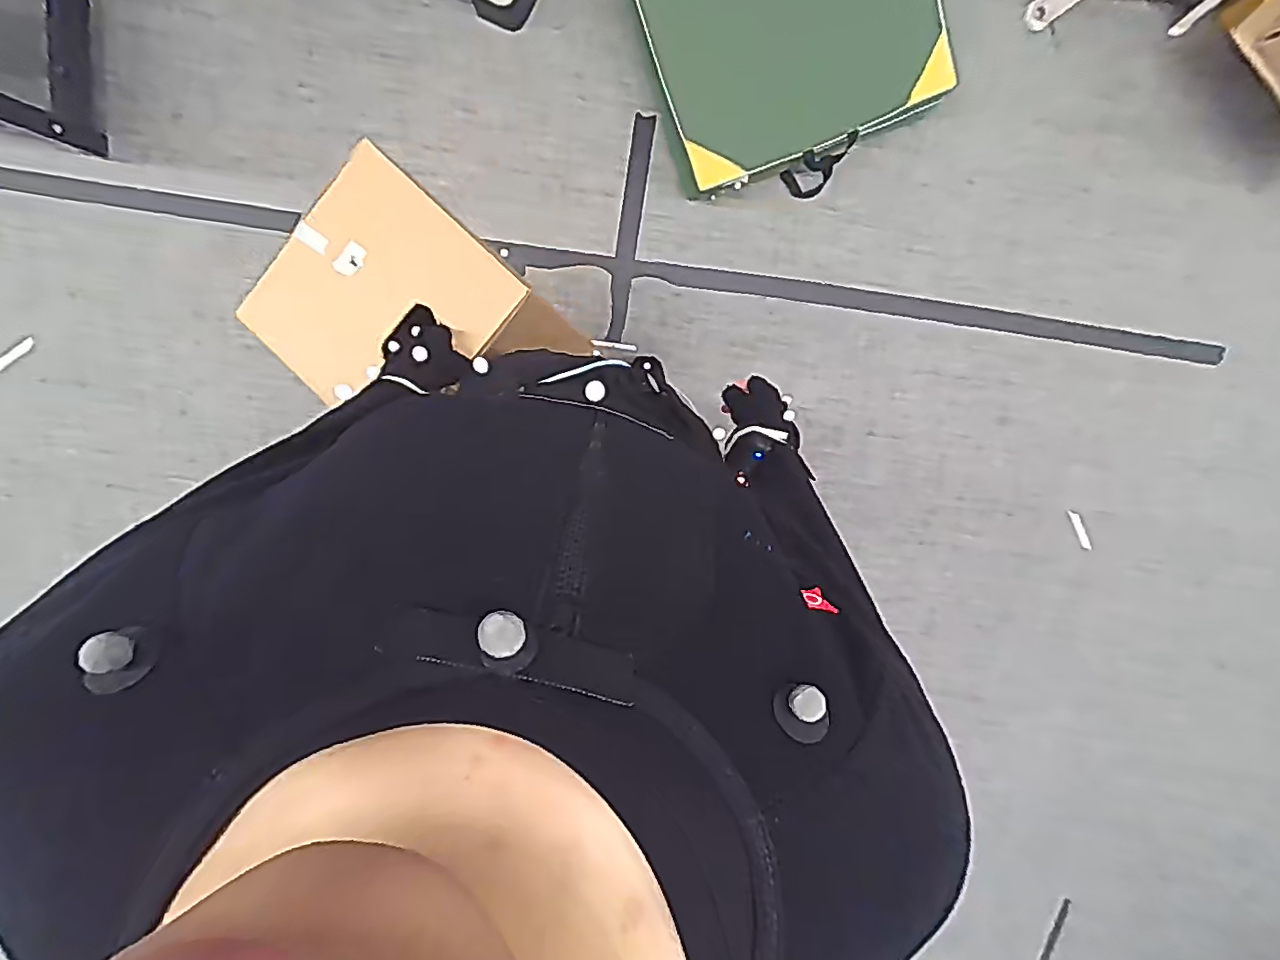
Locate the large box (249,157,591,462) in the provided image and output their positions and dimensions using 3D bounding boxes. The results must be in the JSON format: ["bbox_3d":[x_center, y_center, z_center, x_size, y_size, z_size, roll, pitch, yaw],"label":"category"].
[{"bbox_3d":[-0.338,-0.254,0.943,0.320,0.408,0.320,44,99,3],"label":"large box"}]
